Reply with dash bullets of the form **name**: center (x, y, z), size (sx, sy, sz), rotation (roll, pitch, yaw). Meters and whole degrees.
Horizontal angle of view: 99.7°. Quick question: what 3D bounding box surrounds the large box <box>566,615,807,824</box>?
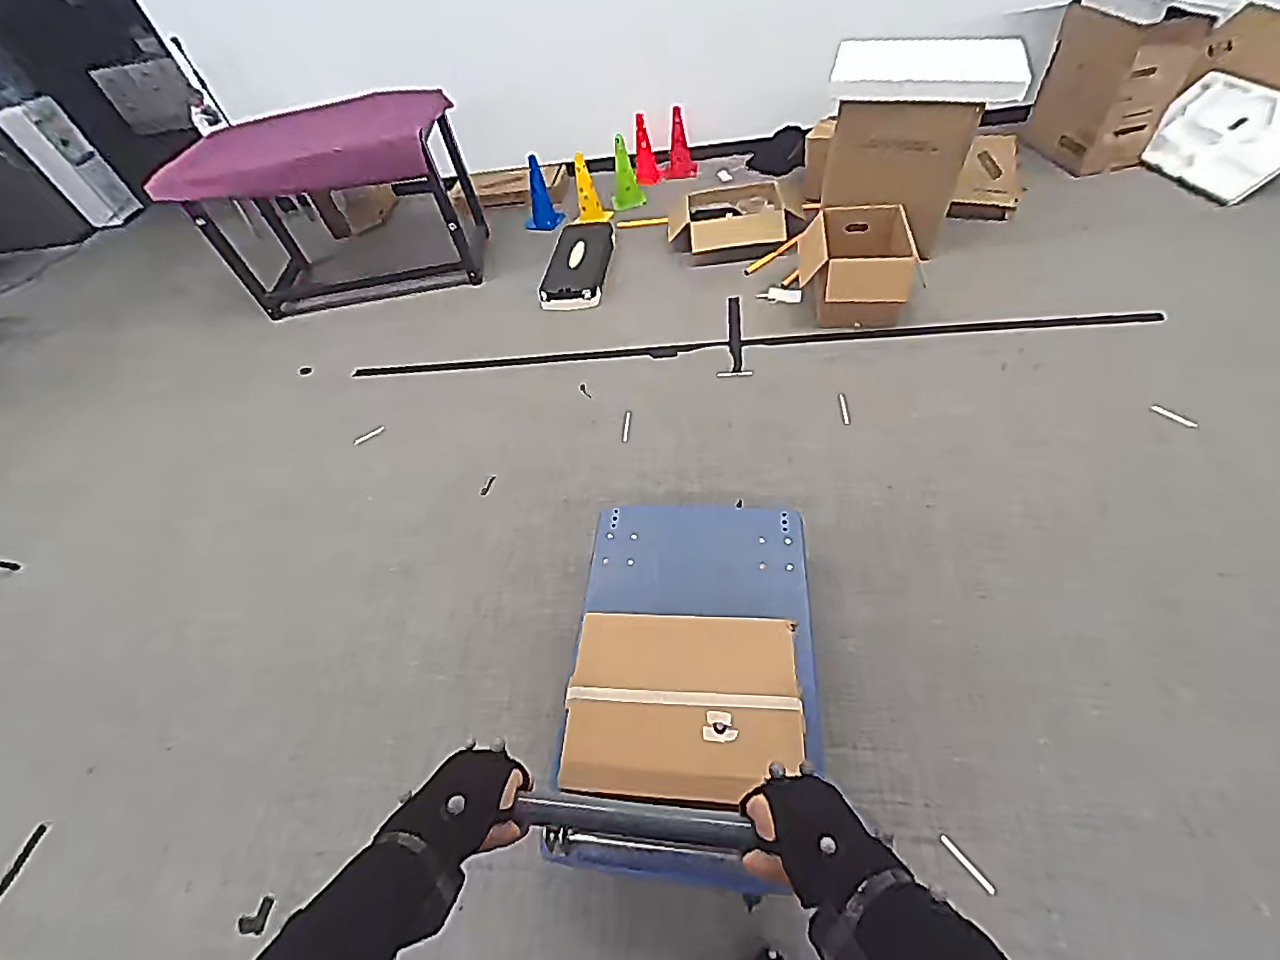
- **large box**: center (0.095, 0.483, 1.087), size (0.408, 0.320, 0.320), rotation (0, 53, 8)
